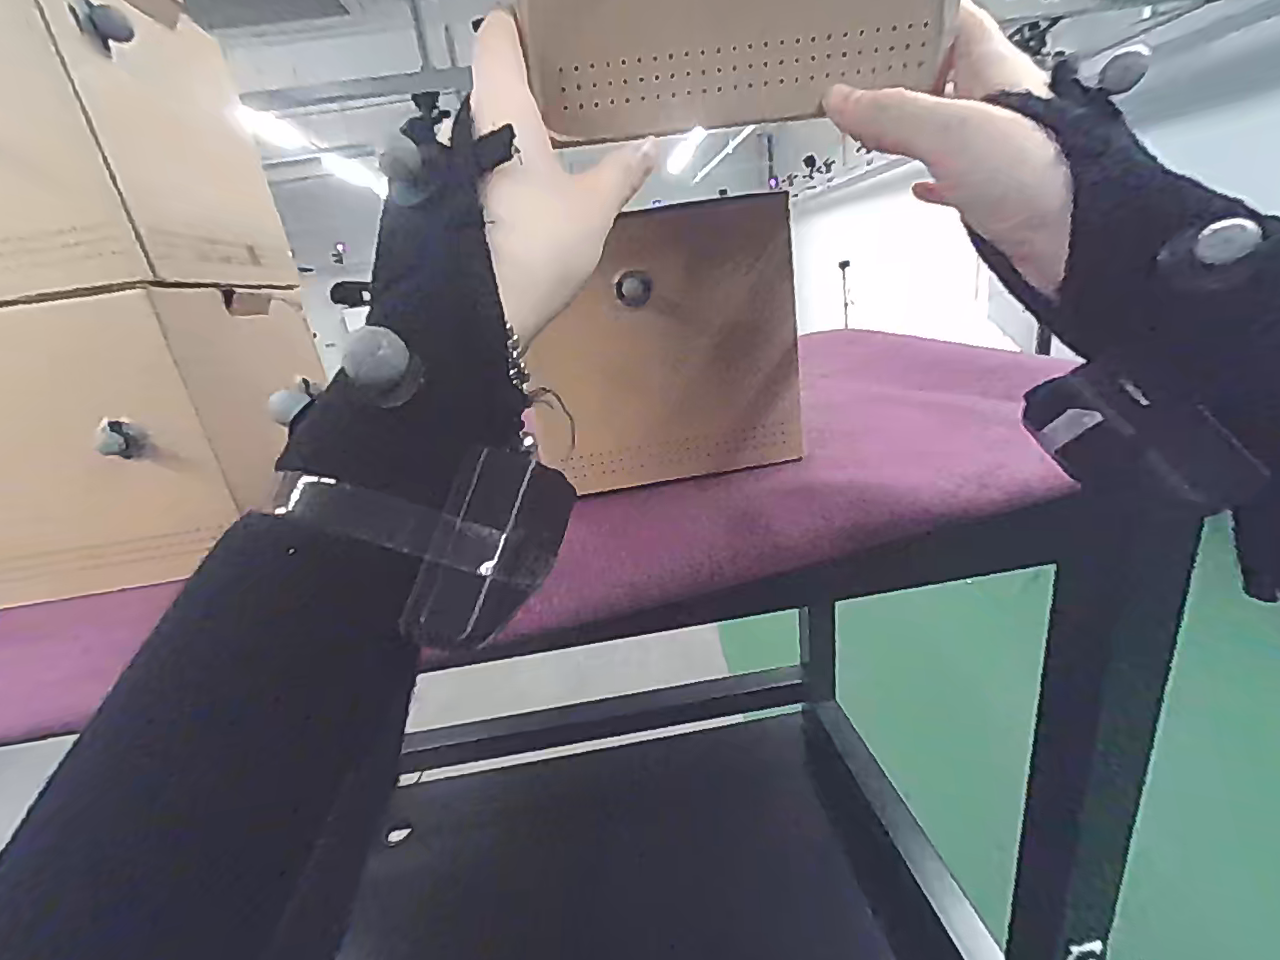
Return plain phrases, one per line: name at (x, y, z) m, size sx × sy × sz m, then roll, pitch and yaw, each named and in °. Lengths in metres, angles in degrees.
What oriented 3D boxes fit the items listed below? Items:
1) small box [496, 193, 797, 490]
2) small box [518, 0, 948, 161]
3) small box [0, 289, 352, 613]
small box at (0.007, -0.098, 0.414) m, size 0.179 × 0.176 × 0.168 m, roll -9°, pitch 18°, yaw -2°
small box at (0.031, -0.254, 0.249) m, size 0.179 × 0.176 × 0.168 m, roll -8°, pitch 33°, yaw 0°
small box at (-0.334, -0.032, 0.374) m, size 0.179 × 0.176 × 0.168 m, roll -10°, pitch 19°, yaw -4°
